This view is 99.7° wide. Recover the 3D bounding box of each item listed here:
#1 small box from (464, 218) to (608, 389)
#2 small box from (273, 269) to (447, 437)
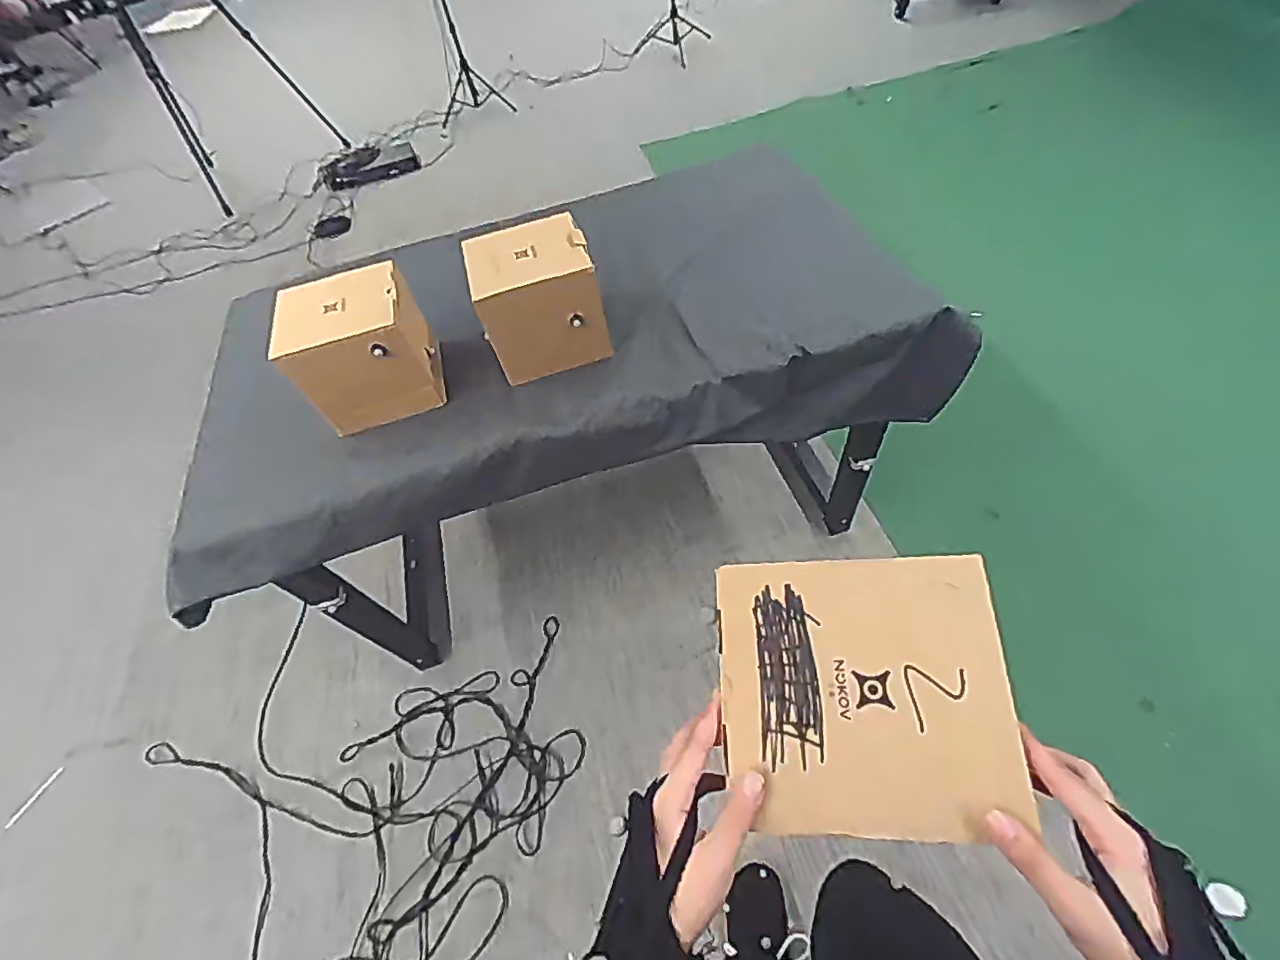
[{"bbox_3d":[-0.158,-0.275,0.858,0.179,0.176,0.168,-19,53,-3],"label":"small box"},{"bbox_3d":[-0.425,-0.192,0.844,0.179,0.176,0.168,-19,54,-4],"label":"small box"}]
